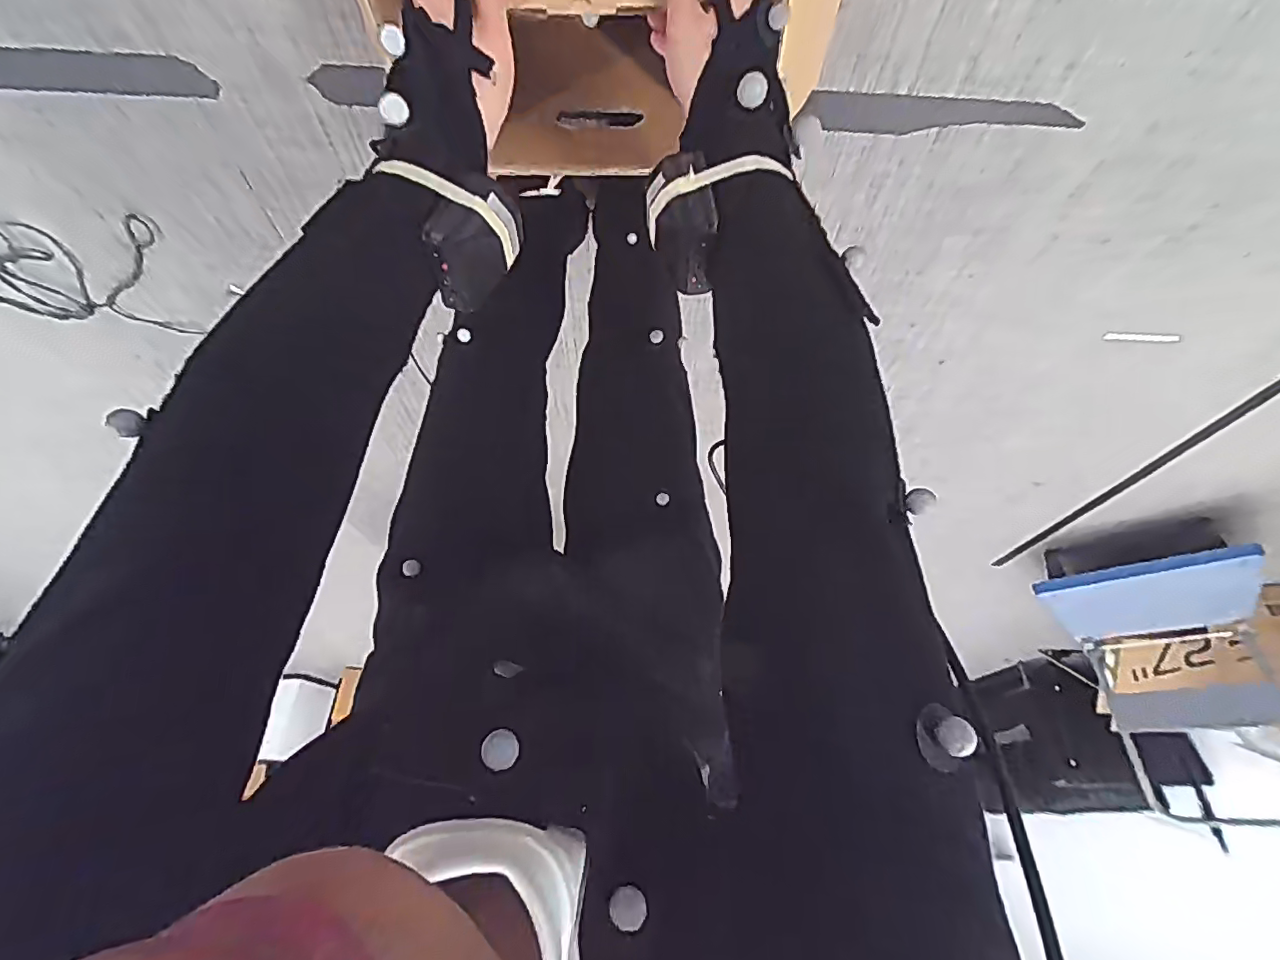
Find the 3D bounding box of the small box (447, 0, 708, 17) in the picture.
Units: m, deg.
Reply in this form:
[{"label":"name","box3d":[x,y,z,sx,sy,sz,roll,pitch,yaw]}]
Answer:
[{"label":"small box","box3d":[-0.040,-0.410,0.336,0.168,0.176,0.179,-1,136,0]}]
